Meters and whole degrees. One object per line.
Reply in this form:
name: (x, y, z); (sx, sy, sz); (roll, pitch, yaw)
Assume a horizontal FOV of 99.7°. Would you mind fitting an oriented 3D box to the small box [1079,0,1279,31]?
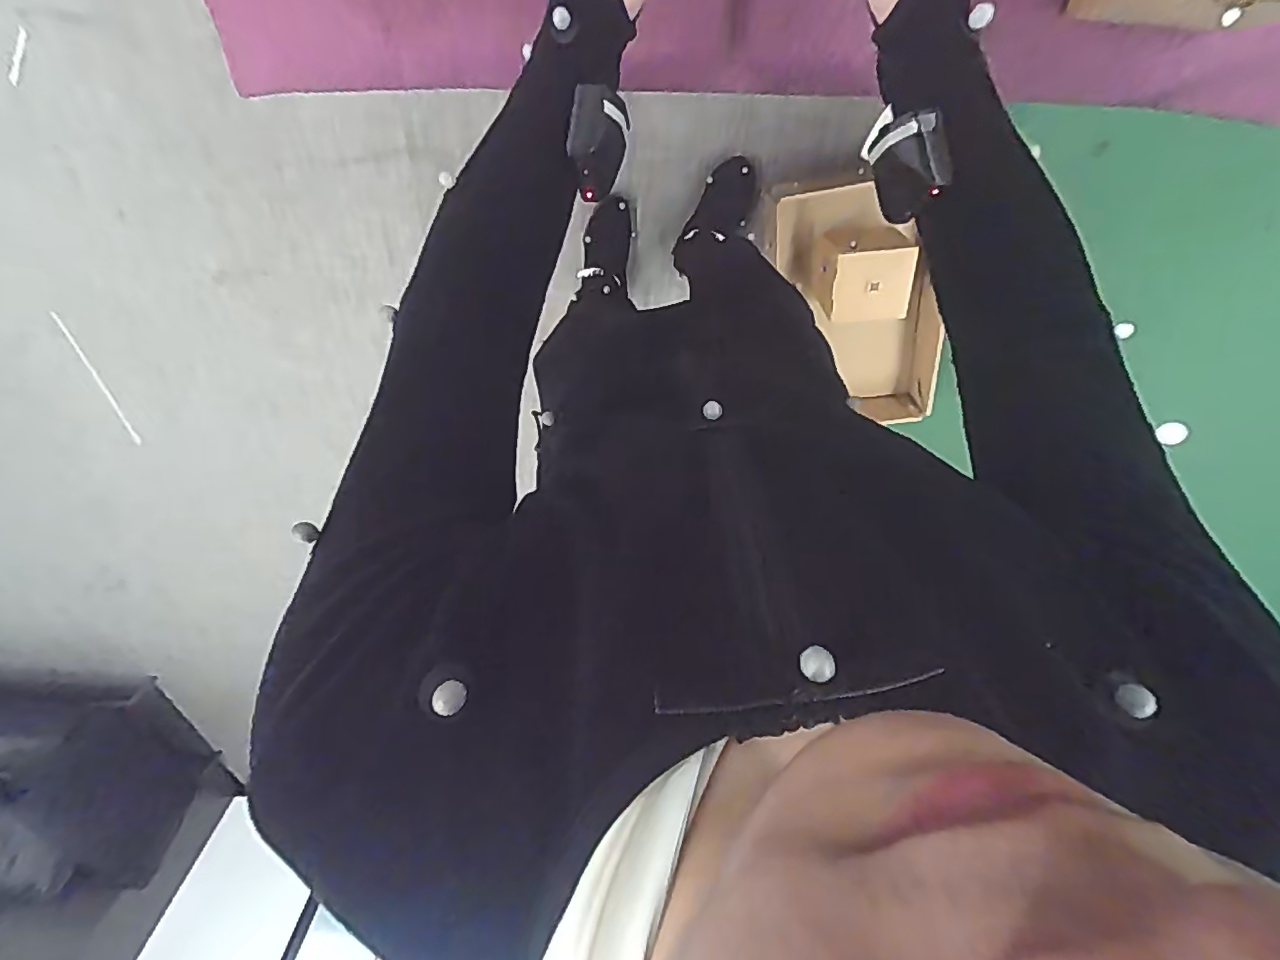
small box: (0.521, -0.498, 0.443); (0.168, 0.176, 0.179); (6, 124, 2)
